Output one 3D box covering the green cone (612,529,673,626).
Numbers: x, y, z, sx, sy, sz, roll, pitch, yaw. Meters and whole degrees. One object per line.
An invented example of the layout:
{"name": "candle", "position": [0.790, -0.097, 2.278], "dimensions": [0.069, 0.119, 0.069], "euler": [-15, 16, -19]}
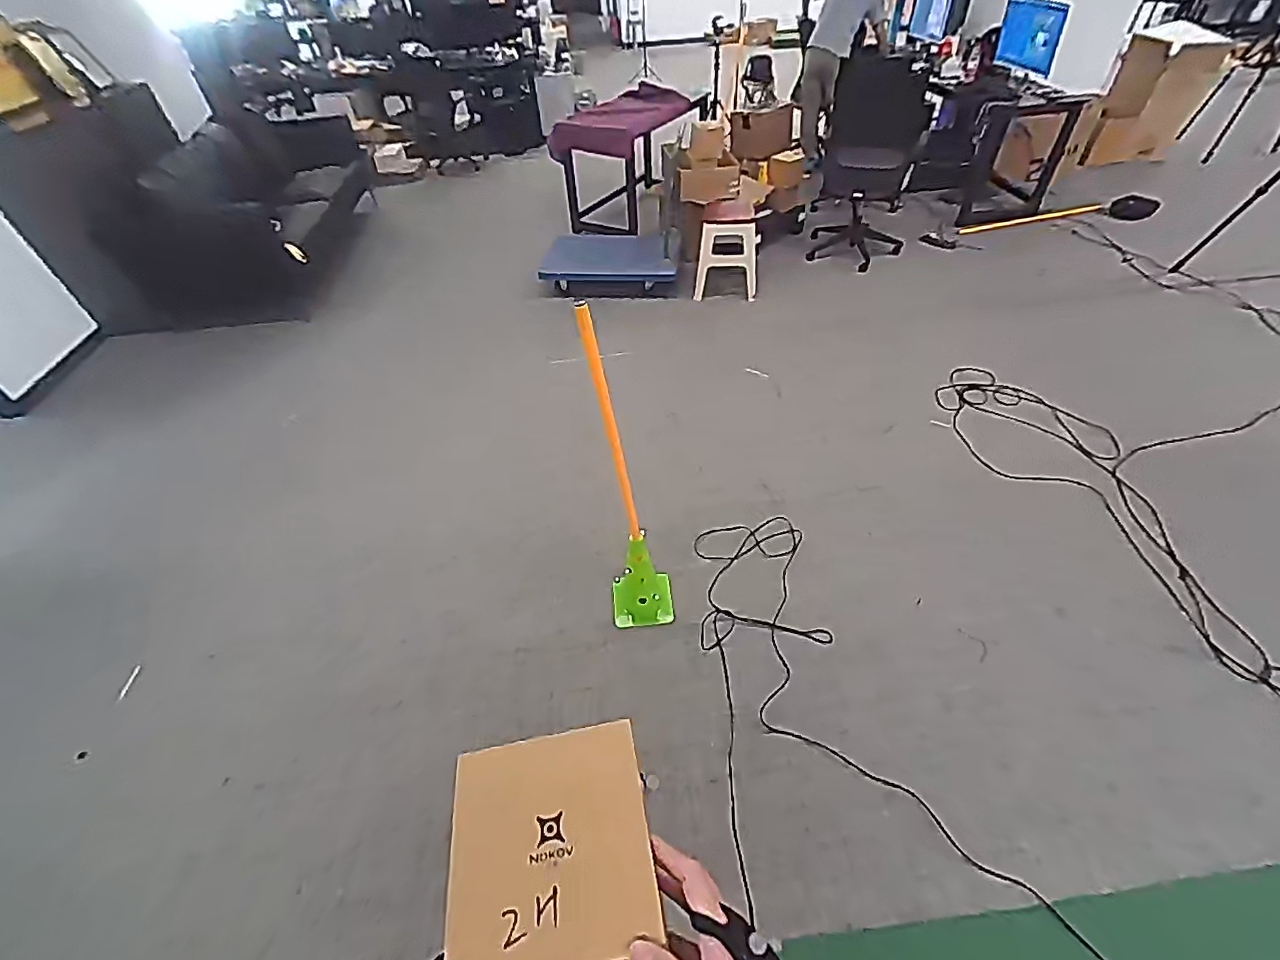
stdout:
{"name": "green cone", "position": [-0.001, 0.288, 1.737], "dimensions": [0.202, 0.368, 0.200], "euler": [-5, 46, -2]}
